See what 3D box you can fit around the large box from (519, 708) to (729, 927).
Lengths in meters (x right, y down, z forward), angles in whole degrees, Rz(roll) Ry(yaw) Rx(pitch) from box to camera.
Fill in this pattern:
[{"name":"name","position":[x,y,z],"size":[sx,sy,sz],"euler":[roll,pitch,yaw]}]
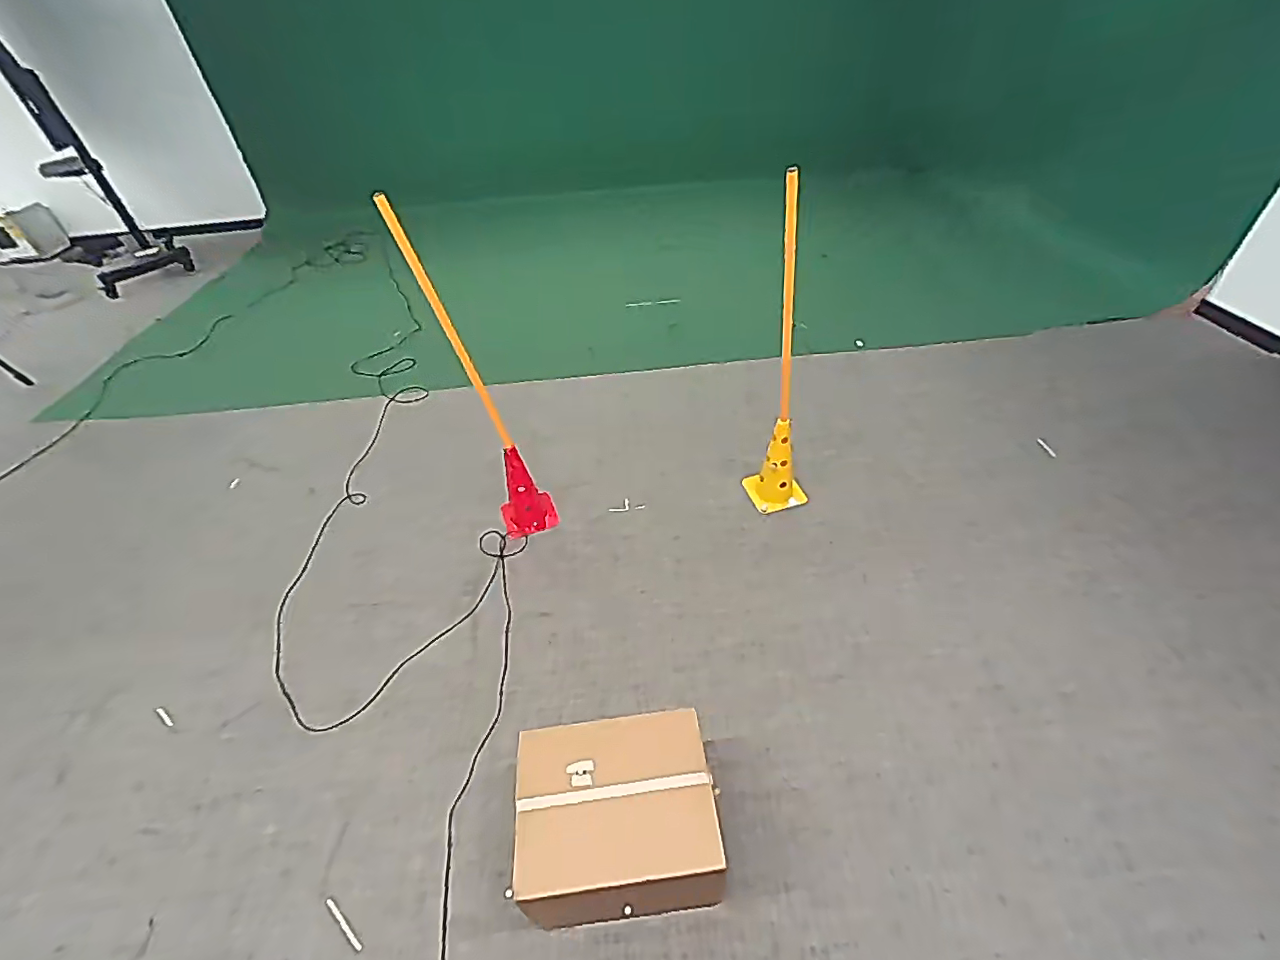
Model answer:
[{"name":"large box","position":[-0.035,0.758,1.217],"size":[0.408,0.320,0.320],"euler":[-8,42,-2]}]
